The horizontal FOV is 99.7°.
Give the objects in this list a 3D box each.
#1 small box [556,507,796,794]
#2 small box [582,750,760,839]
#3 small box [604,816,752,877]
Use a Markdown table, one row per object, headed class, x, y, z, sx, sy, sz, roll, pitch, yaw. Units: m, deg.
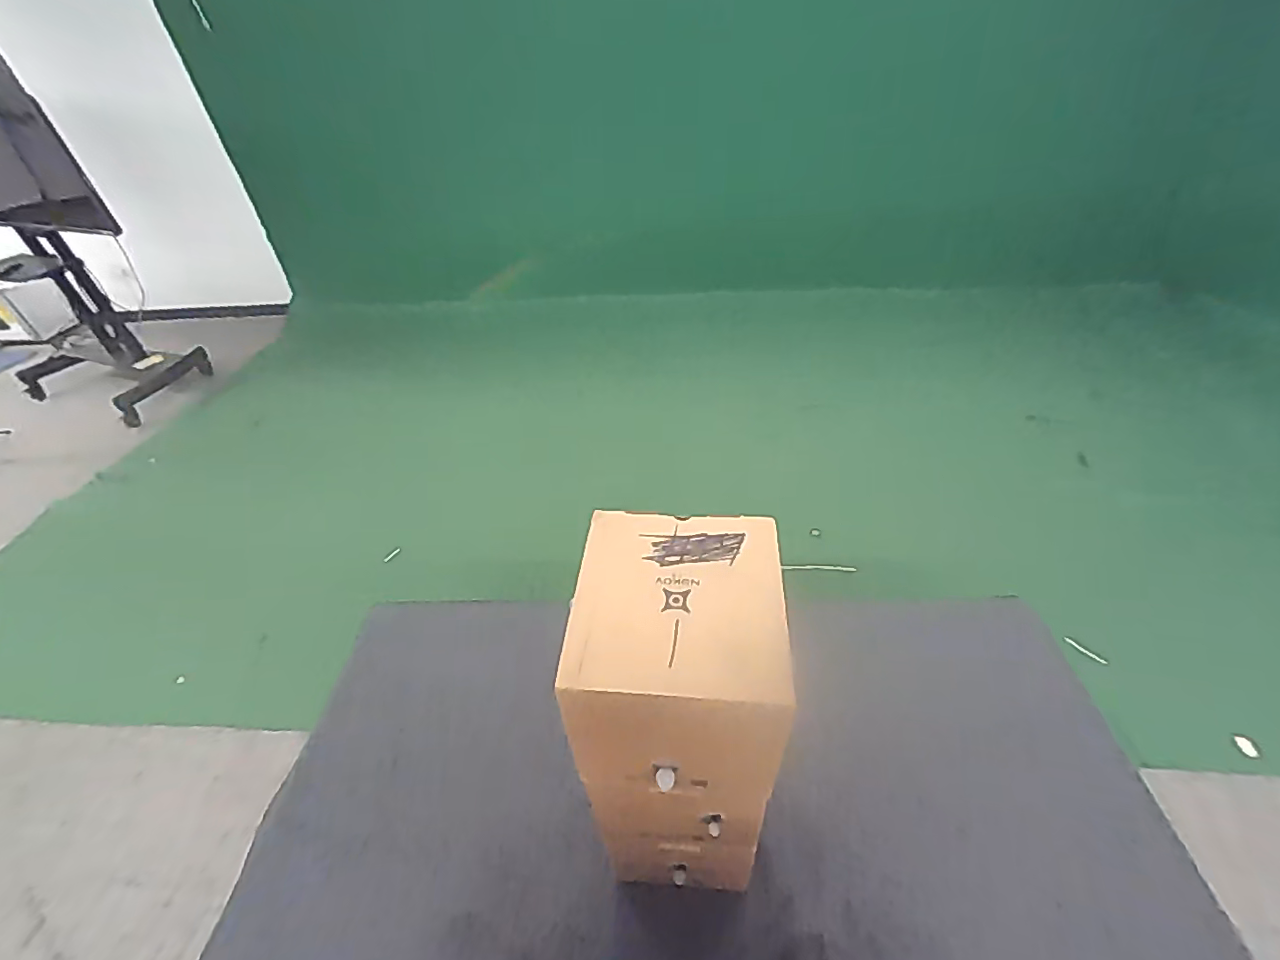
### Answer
| class | x | y | z | sx | sy | sz | roll | pitch | yaw |
| --- | --- | --- | --- | --- | --- | --- | --- | --- | --- |
| small box | 0.034 | 0.146 | 0.476 | 0.168 | 0.176 | 0.179 | 1 | 43 | 7 |
| small box | 0.041 | 0.265 | 0.588 | 0.168 | 0.176 | 0.179 | 1 | 41 | 5 |
| small box | 0.055 | 0.386 | 0.696 | 0.168 | 0.176 | 0.179 | 1 | 42 | 7 |
